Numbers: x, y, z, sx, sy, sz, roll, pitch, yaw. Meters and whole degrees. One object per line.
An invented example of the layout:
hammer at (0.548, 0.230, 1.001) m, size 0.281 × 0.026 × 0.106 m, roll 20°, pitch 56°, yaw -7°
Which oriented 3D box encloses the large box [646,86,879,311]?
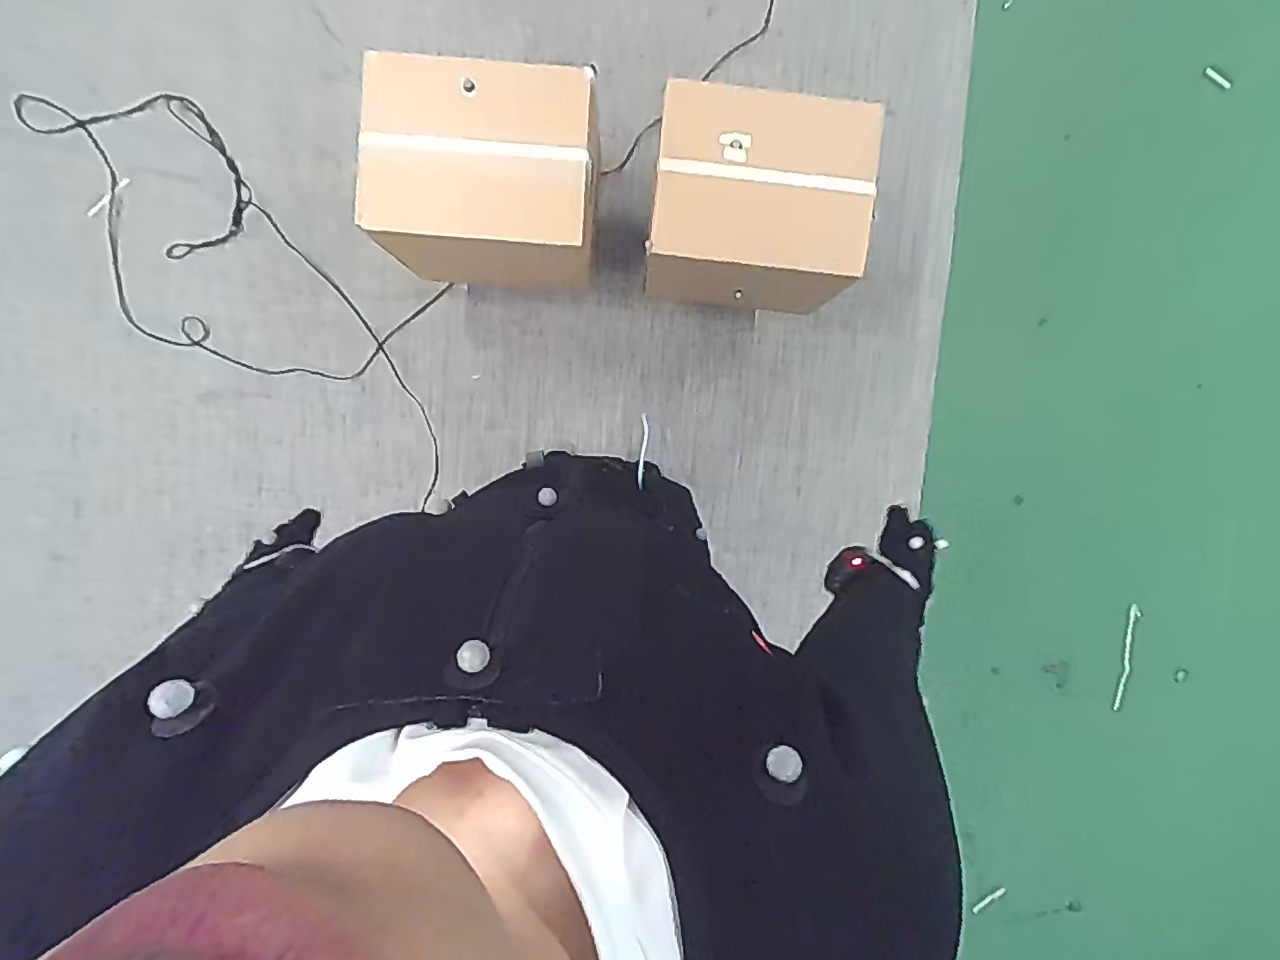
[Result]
large box at (0.231, -0.565, 1.155) m, size 0.408 × 0.320 × 0.320 m, roll 6°, pitch 94°, yaw -2°
